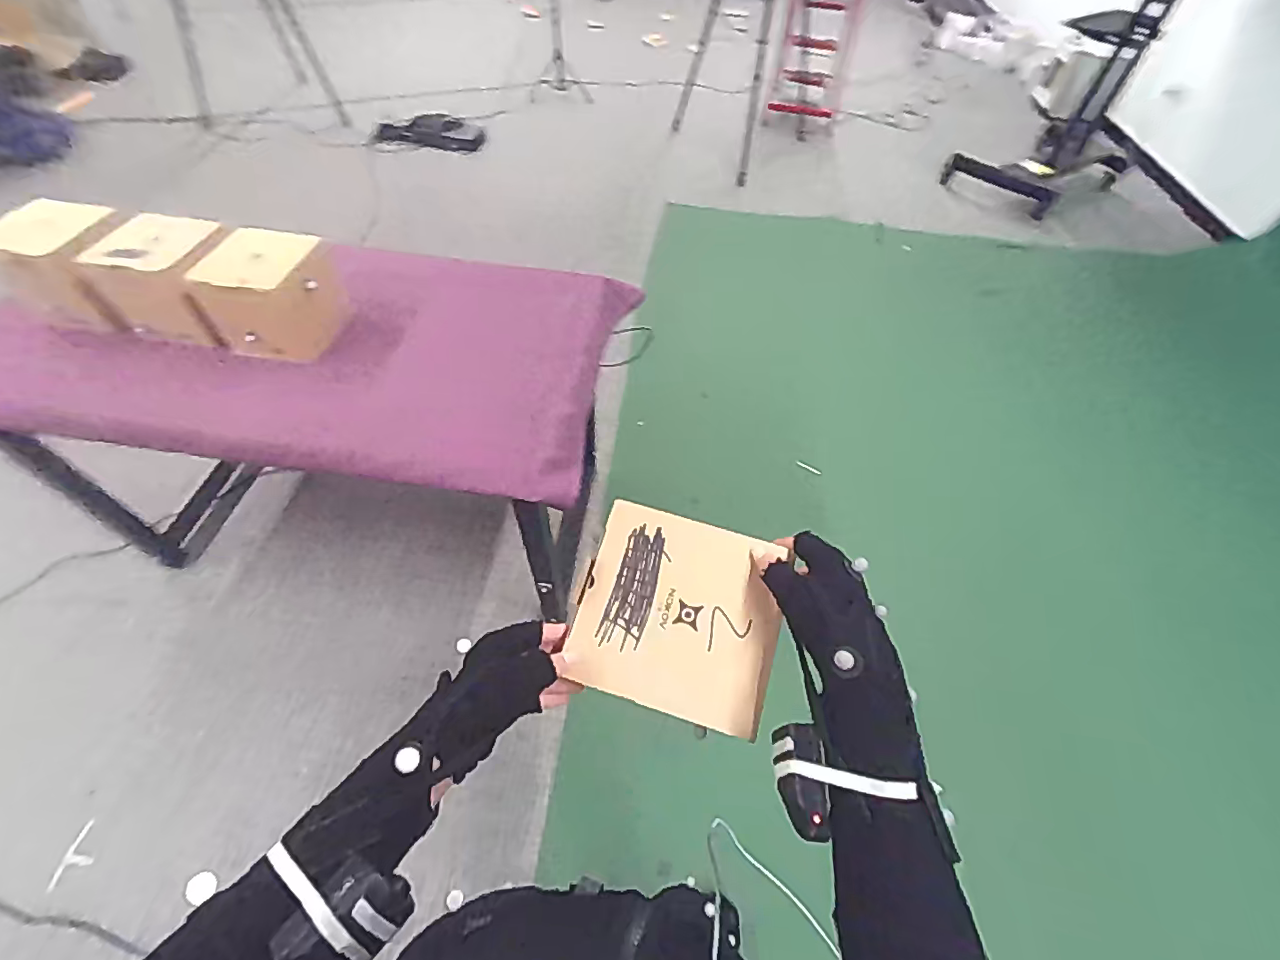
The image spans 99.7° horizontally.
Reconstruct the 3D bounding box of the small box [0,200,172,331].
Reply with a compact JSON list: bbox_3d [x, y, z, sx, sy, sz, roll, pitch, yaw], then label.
[{"bbox_3d":[-1.096,-0.424,1.075,0.168,0.176,0.179,8,54,4],"label":"small box"}]

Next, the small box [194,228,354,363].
[{"bbox_3d":[-0.688,-0.356,1.049,0.168,0.176,0.179,9,54,3],"label":"small box"}]
